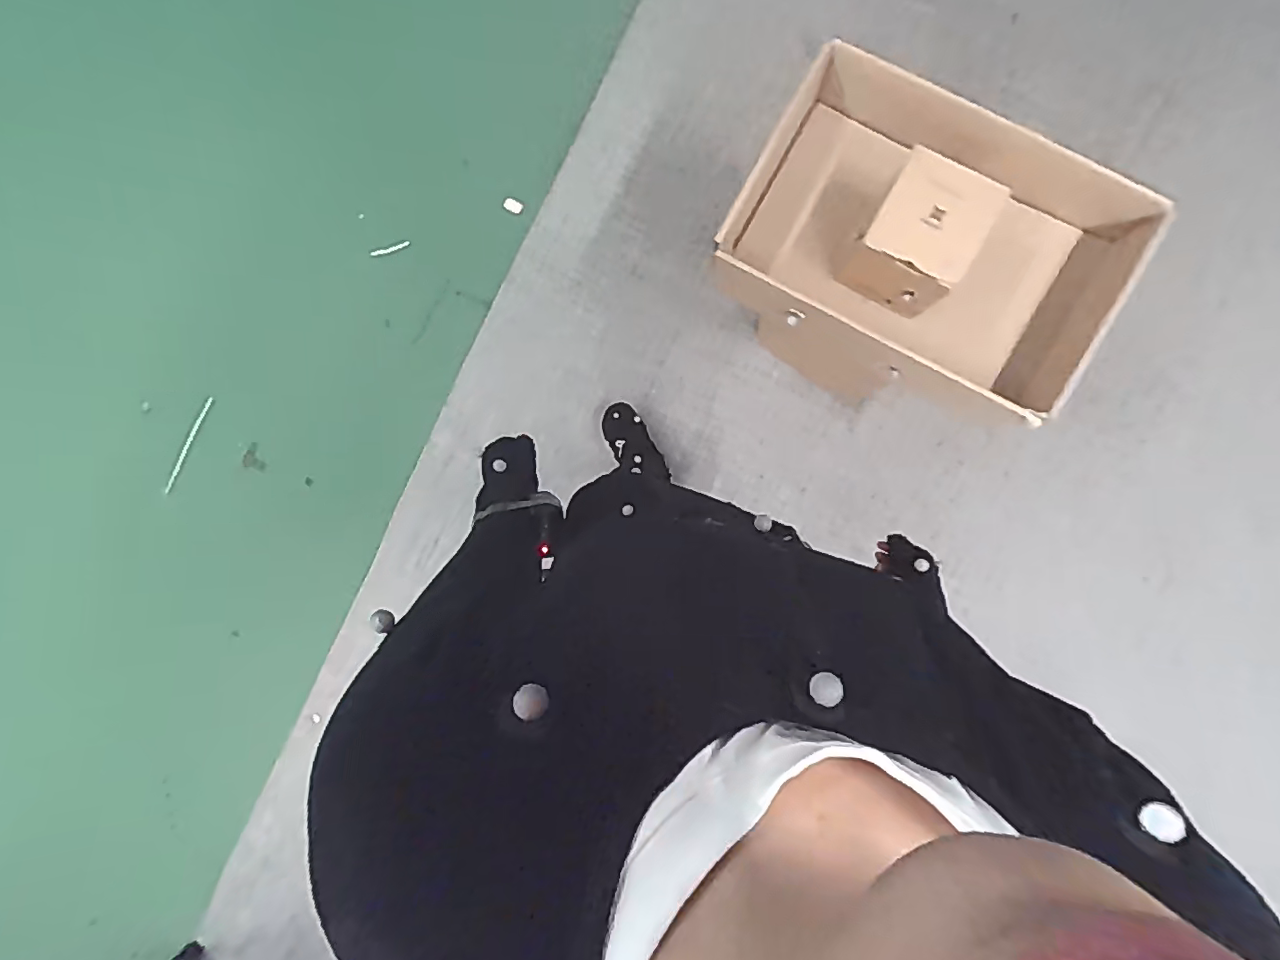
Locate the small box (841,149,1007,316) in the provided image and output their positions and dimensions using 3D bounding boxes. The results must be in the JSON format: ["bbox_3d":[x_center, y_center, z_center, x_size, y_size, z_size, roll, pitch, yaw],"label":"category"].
[{"bbox_3d":[0.471,-0.411,0.933,0.168,0.176,0.179,28,90,3],"label":"small box"}]
